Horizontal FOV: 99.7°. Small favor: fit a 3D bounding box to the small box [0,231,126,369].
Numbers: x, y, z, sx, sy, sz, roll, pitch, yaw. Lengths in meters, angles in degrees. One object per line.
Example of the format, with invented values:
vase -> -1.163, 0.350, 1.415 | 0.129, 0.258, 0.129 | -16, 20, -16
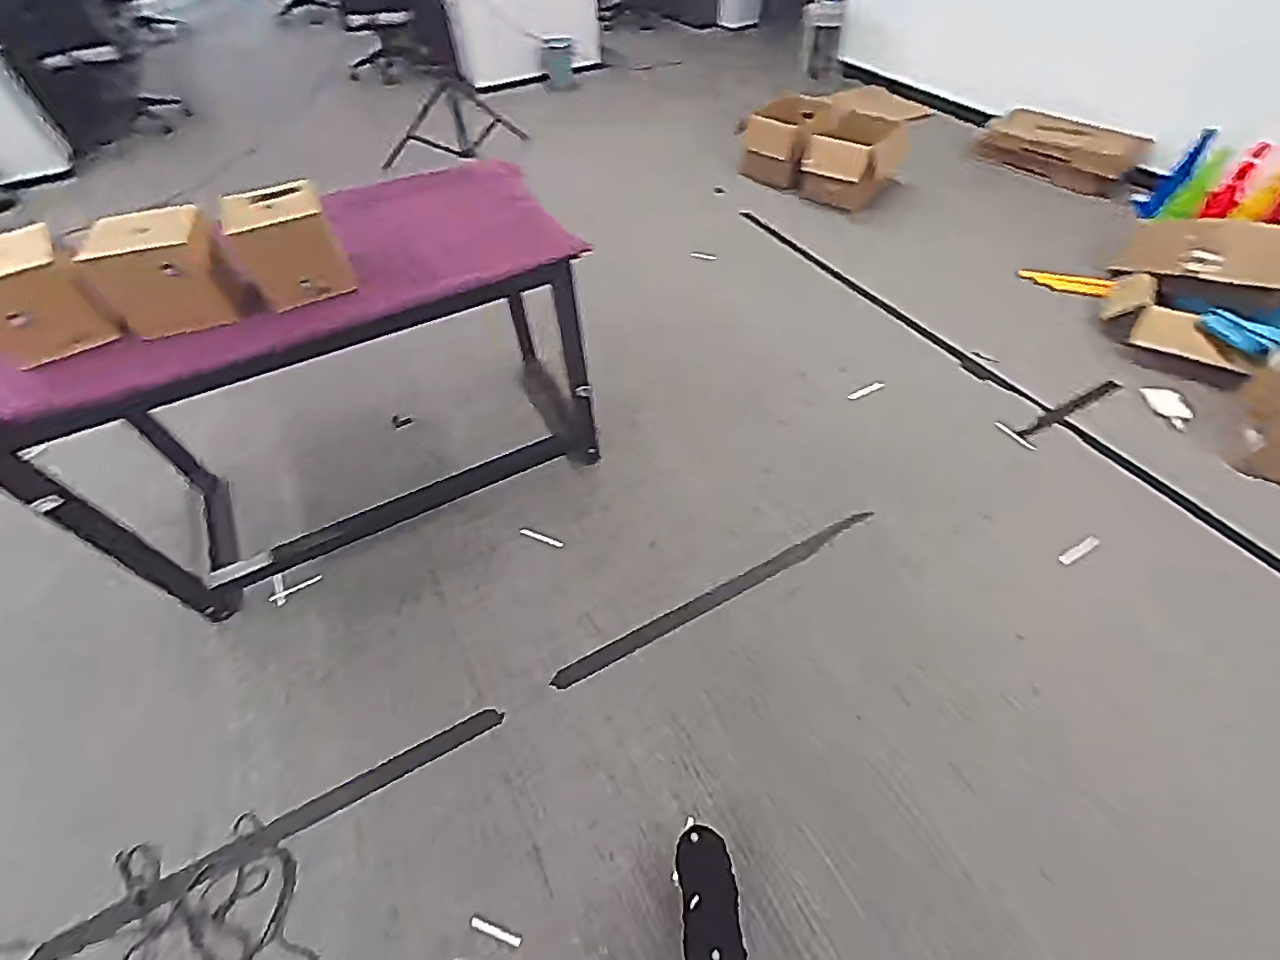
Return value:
small box -> -1.134, -0.335, 1.028 | 0.168, 0.176, 0.179 | -31, 57, -21
